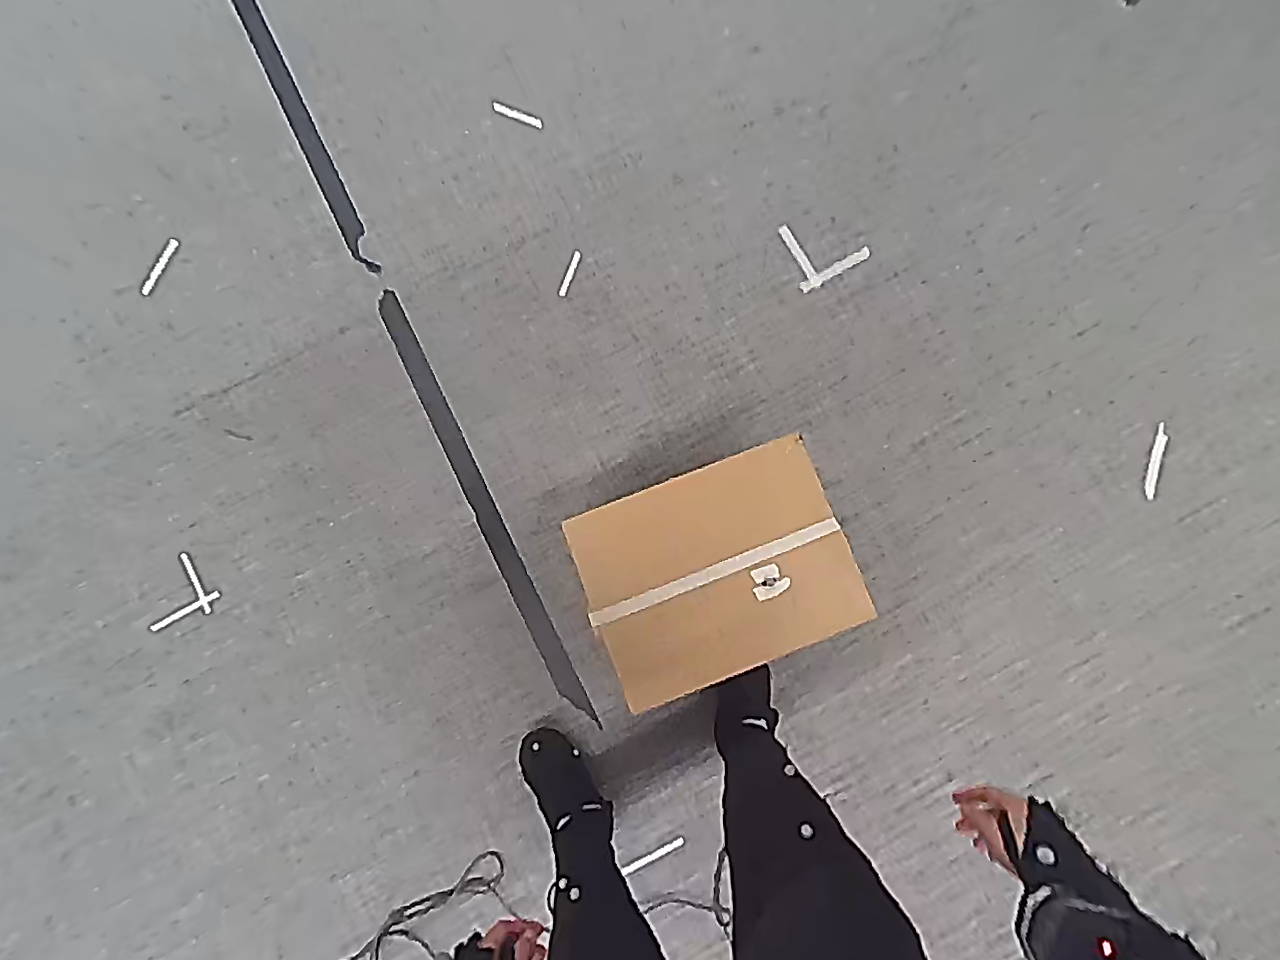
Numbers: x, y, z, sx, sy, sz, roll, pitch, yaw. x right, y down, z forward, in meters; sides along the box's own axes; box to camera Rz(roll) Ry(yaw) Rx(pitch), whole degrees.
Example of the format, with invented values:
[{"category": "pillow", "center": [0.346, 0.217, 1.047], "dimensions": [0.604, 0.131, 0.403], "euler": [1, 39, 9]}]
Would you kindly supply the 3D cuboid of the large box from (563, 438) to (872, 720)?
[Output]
[{"category": "large box", "center": [0.115, 0.165, 0.978], "dimensions": [0.408, 0.320, 0.320], "euler": [-22, 84, -3]}]
